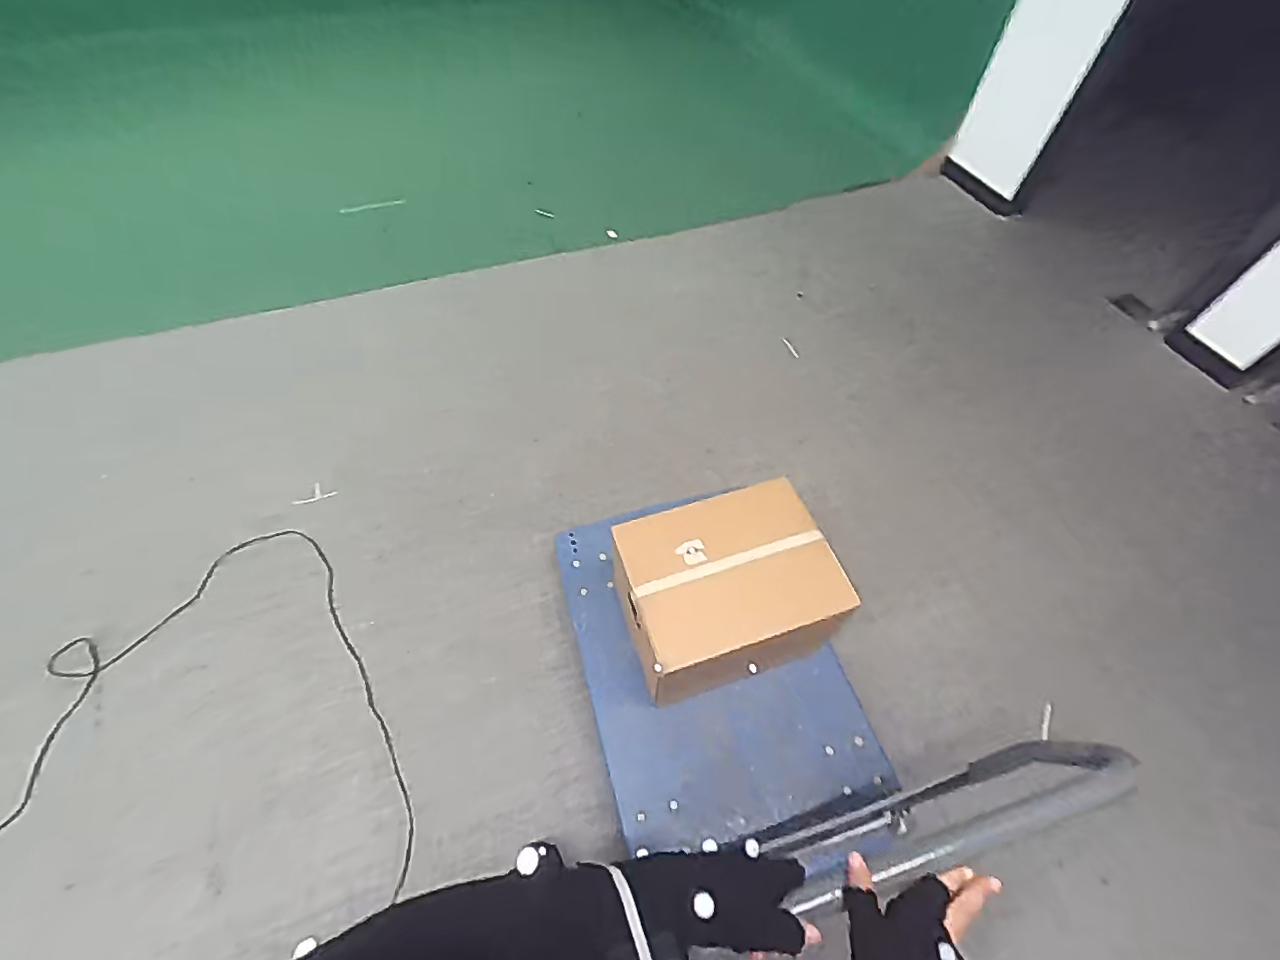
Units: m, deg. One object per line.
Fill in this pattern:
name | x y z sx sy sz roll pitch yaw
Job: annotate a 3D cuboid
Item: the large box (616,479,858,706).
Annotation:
large box | 0.186 0.253 1.196 0.408 0.320 0.320 -17 57 -10
